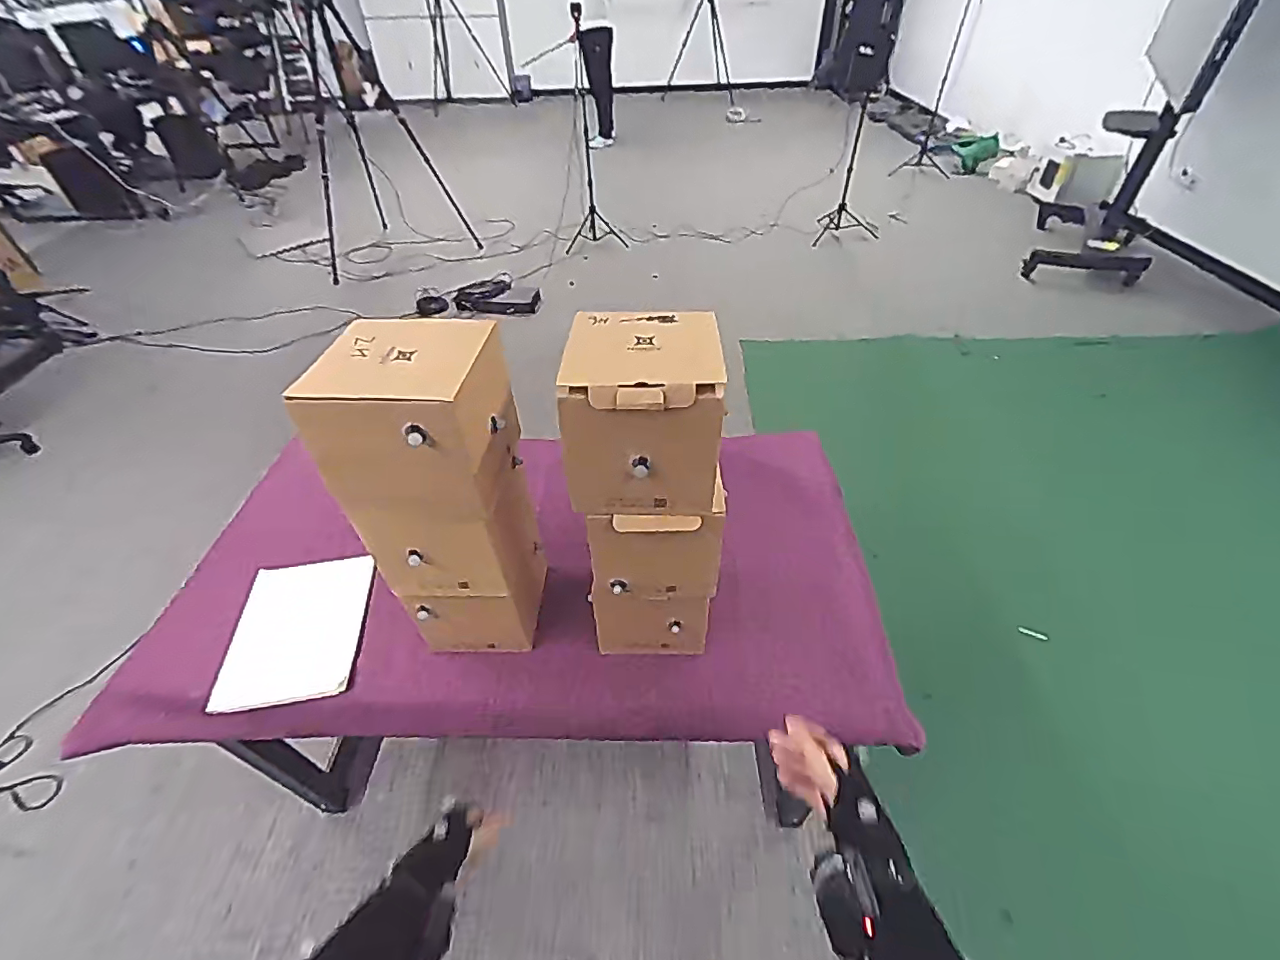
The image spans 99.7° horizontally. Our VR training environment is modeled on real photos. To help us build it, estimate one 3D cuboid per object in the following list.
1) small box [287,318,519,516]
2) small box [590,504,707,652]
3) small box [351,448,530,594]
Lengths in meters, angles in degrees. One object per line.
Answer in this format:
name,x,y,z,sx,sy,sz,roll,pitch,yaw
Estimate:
small box,-0.253,-0.073,0.634,0.179,0.176,0.168,2,42,4
small box,0.017,0.158,0.861,0.168,0.176,0.179,1,43,2
small box,-0.257,0.043,0.752,0.168,0.176,0.179,0,43,2
